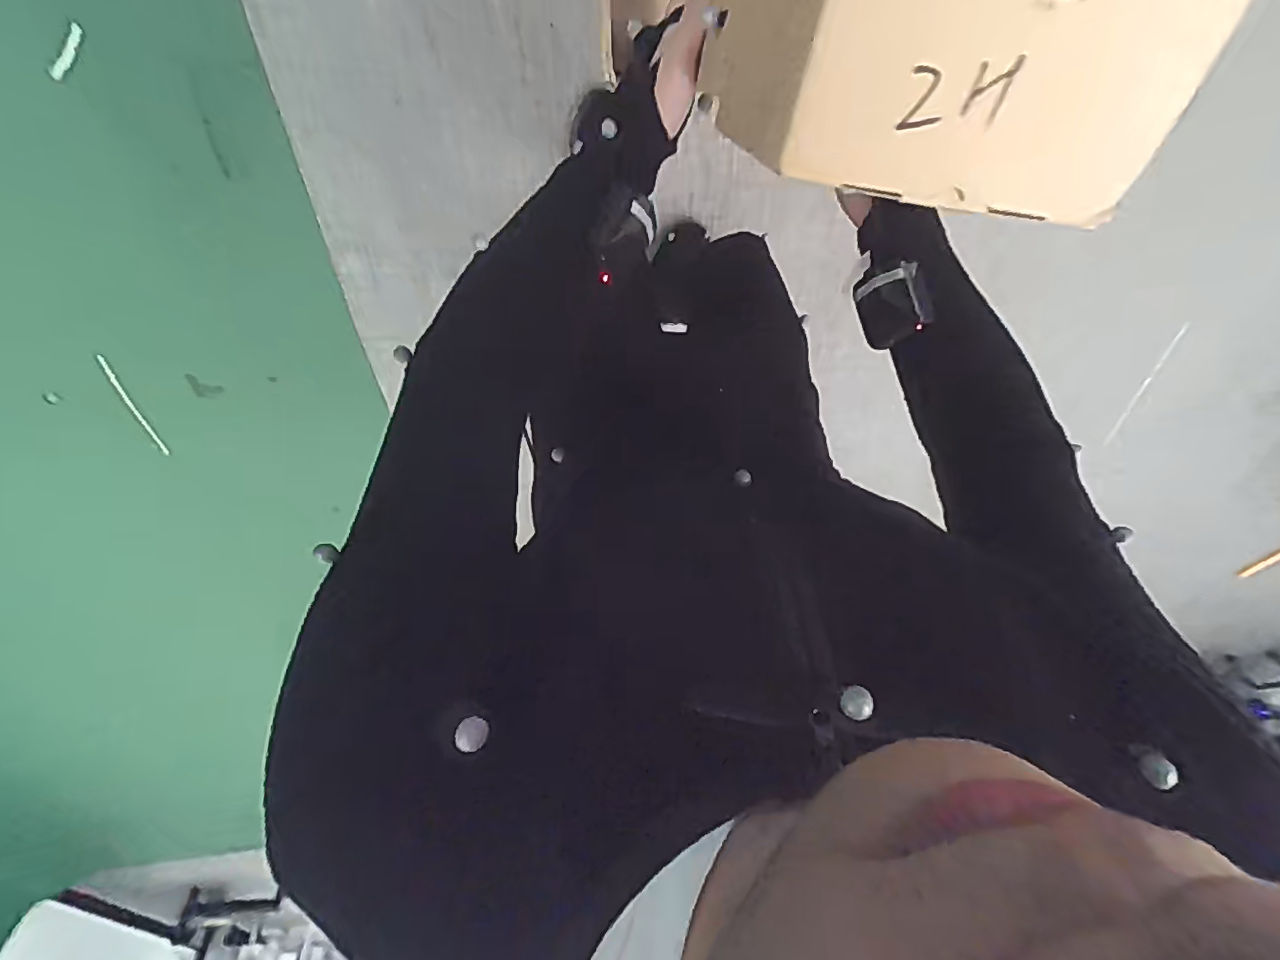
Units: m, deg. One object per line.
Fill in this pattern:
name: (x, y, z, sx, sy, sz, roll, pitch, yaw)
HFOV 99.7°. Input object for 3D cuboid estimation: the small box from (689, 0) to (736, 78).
small box: (0.137, -0.368, 0.369, 0.168, 0.176, 0.179, 6, 129, -9)

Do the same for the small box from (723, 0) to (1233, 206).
small box: (0.144, -0.252, 0.251, 0.168, 0.176, 0.179, 5, 130, -7)
